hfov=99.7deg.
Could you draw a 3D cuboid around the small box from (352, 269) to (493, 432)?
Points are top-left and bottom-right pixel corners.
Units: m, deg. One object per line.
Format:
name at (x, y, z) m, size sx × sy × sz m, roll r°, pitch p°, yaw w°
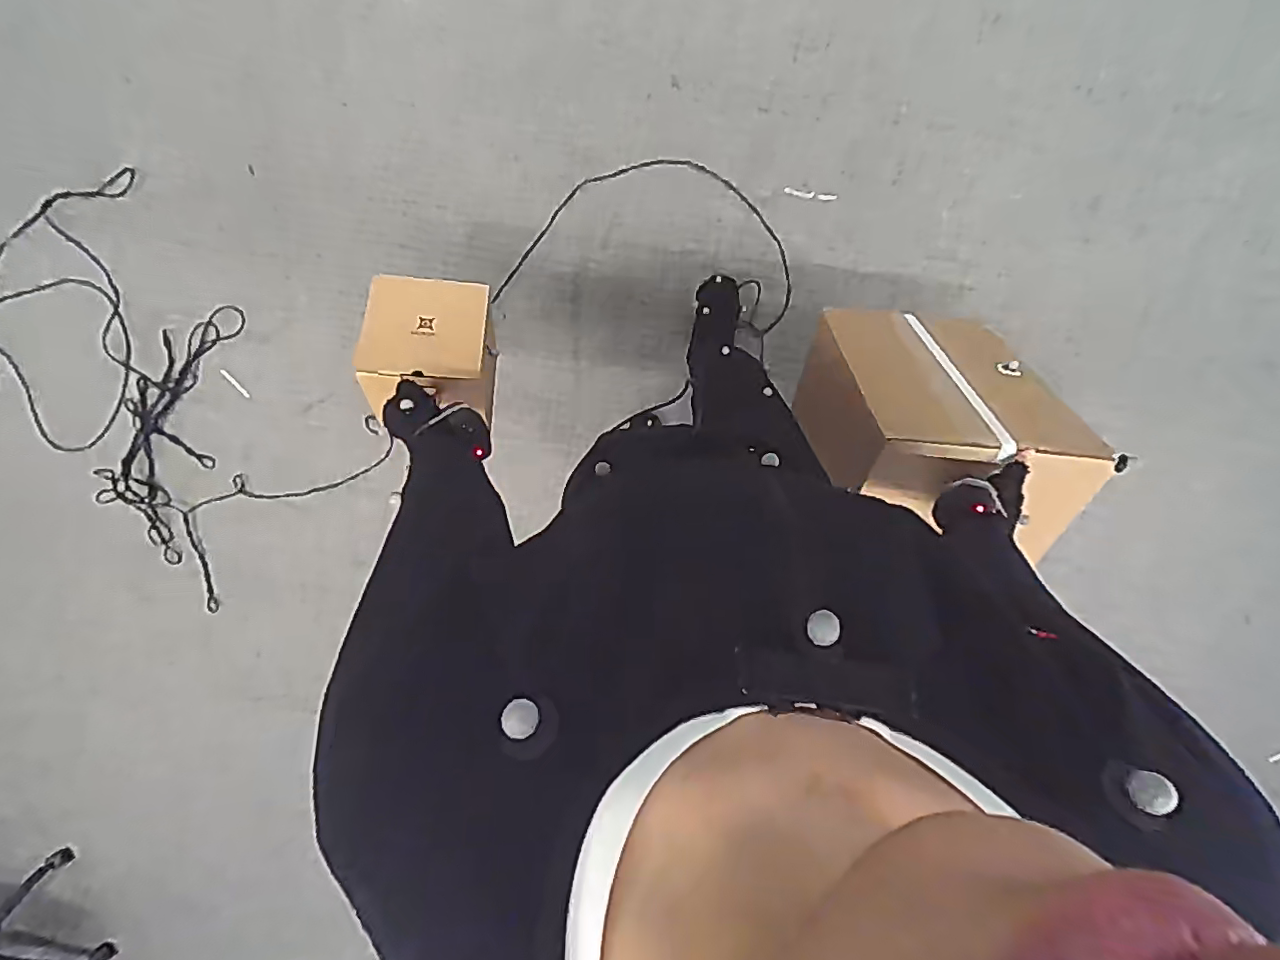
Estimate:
small box at (-0.323, -0.194, 0.841) m, size 0.168 × 0.176 × 0.179 m, roll 2°, pitch 66°, yaw -10°
